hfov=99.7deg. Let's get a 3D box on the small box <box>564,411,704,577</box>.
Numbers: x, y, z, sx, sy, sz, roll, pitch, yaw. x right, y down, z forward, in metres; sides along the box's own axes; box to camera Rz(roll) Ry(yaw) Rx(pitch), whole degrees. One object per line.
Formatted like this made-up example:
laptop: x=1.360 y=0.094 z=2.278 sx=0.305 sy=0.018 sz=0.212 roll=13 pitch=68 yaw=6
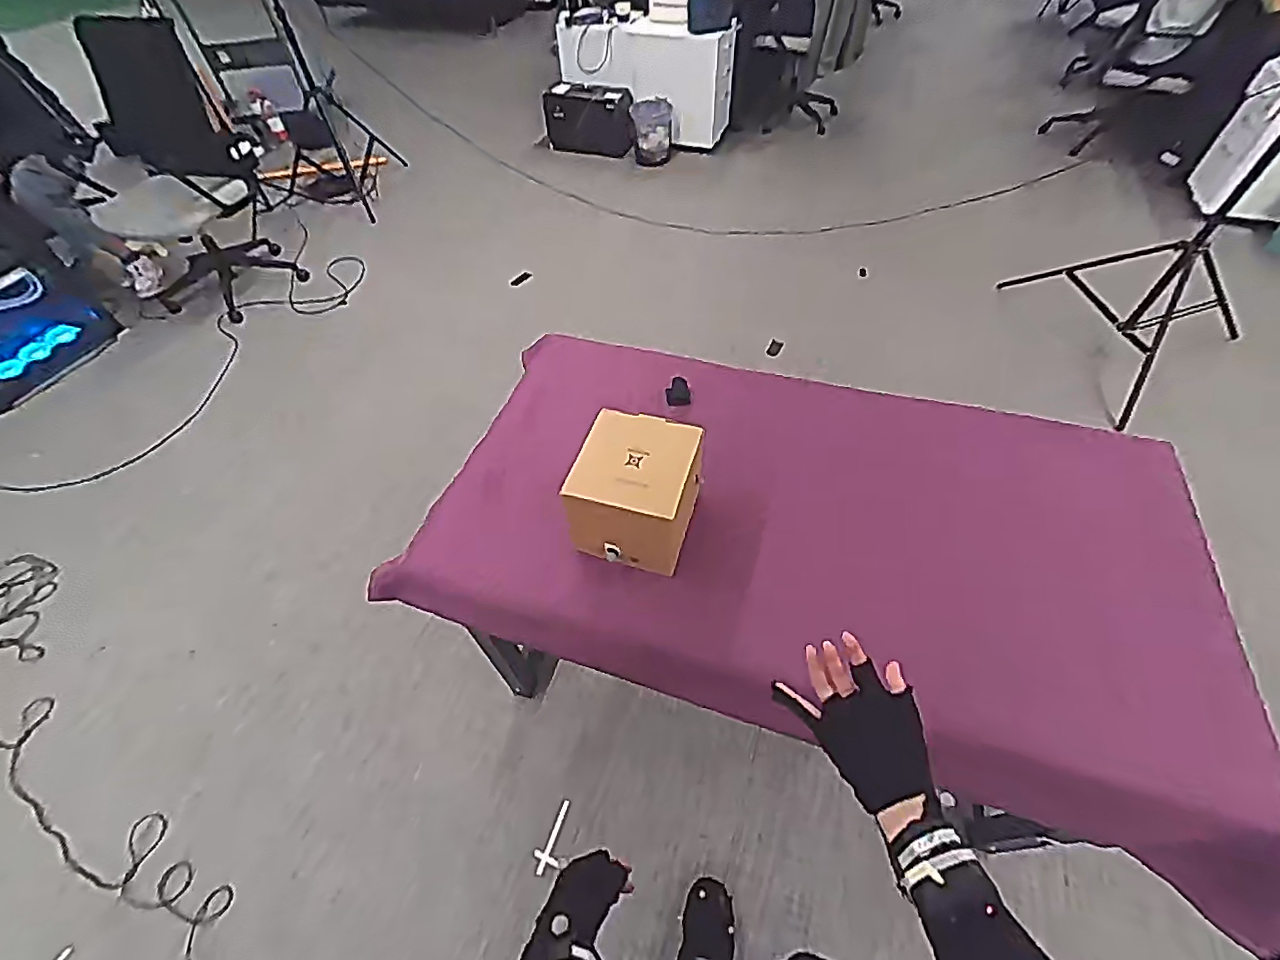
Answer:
small box: x=-0.003 y=0.022 z=0.845 sx=0.168 sy=0.176 sz=0.179 roll=12 pitch=54 yaw=13
